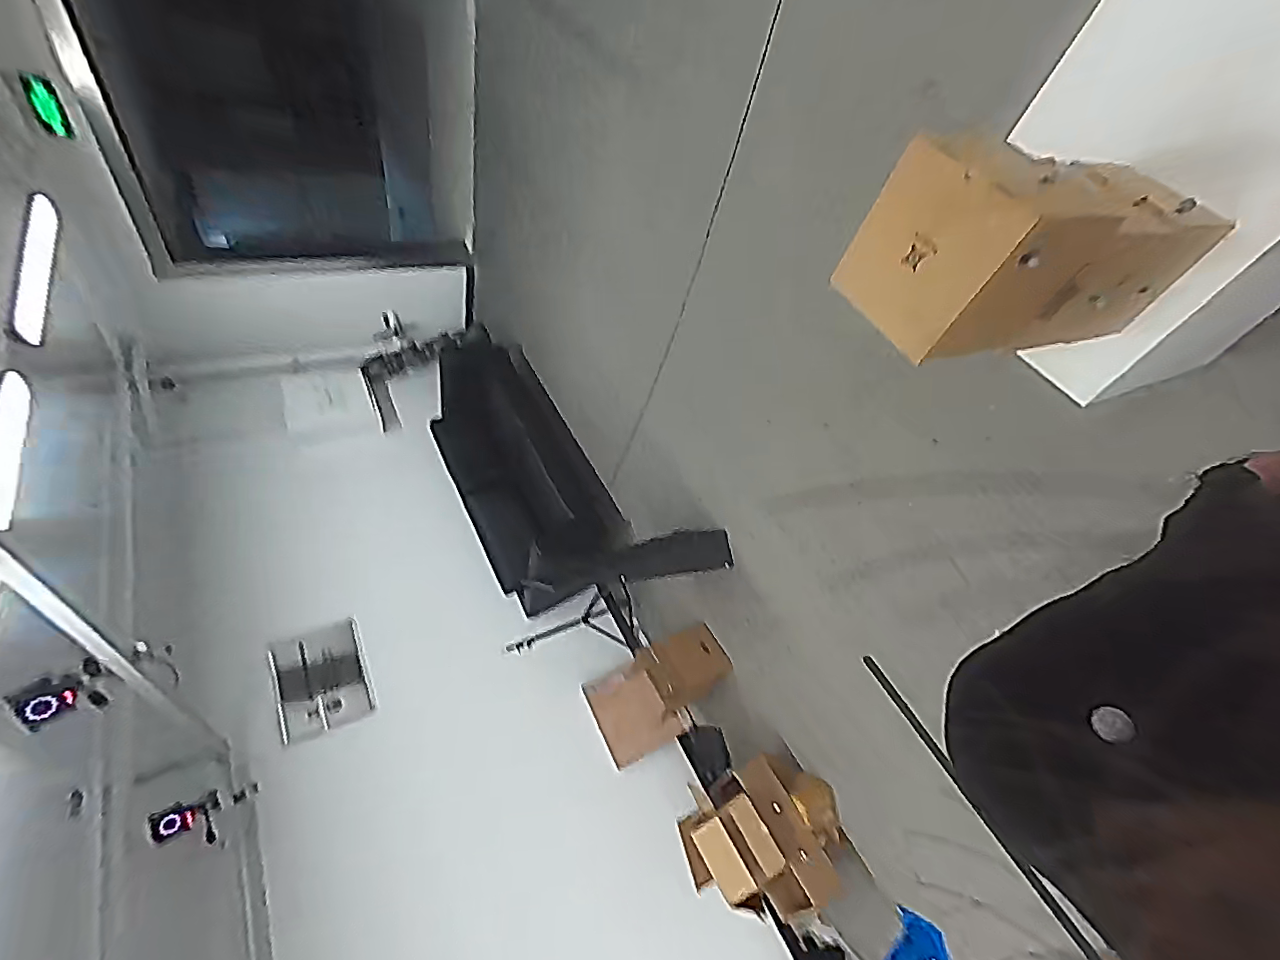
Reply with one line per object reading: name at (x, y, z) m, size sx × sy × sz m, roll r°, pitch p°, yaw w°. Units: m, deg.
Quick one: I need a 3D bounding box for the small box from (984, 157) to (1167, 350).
small box at (0.499, -0.292, 0.696) m, size 0.179 × 0.176 × 0.168 m, roll 60°, pitch 150°, yaw 27°

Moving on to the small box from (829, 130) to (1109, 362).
small box at (0.362, -0.260, 0.613) m, size 0.168 × 0.176 × 0.179 m, roll 60°, pitch 148°, yaw 28°
